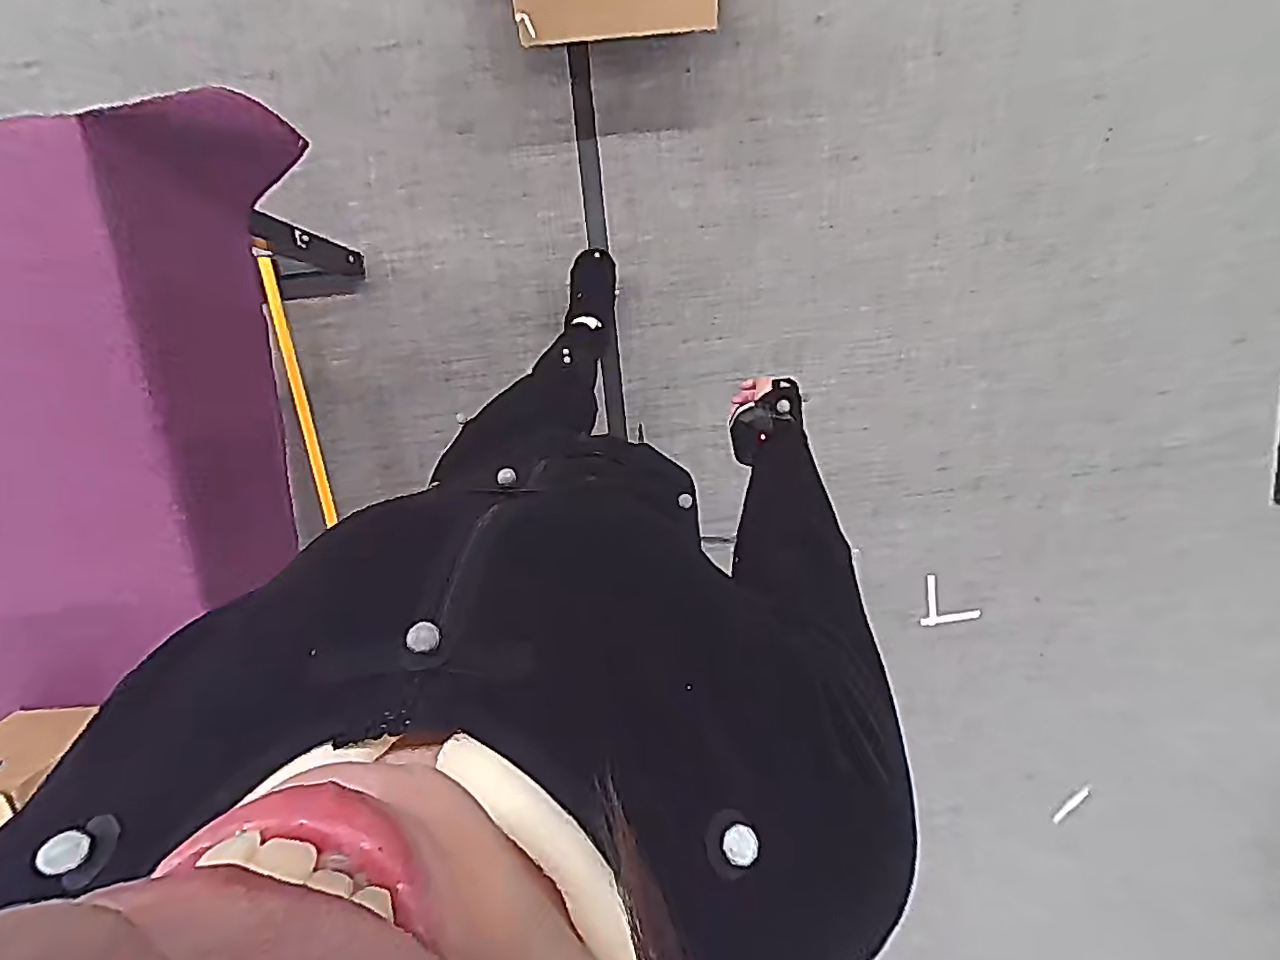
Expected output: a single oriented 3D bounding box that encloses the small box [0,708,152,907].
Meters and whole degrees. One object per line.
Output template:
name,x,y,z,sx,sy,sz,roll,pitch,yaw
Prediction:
small box,-0.810,0.427,0.725,0.179,0.176,0.168,-3,101,0
